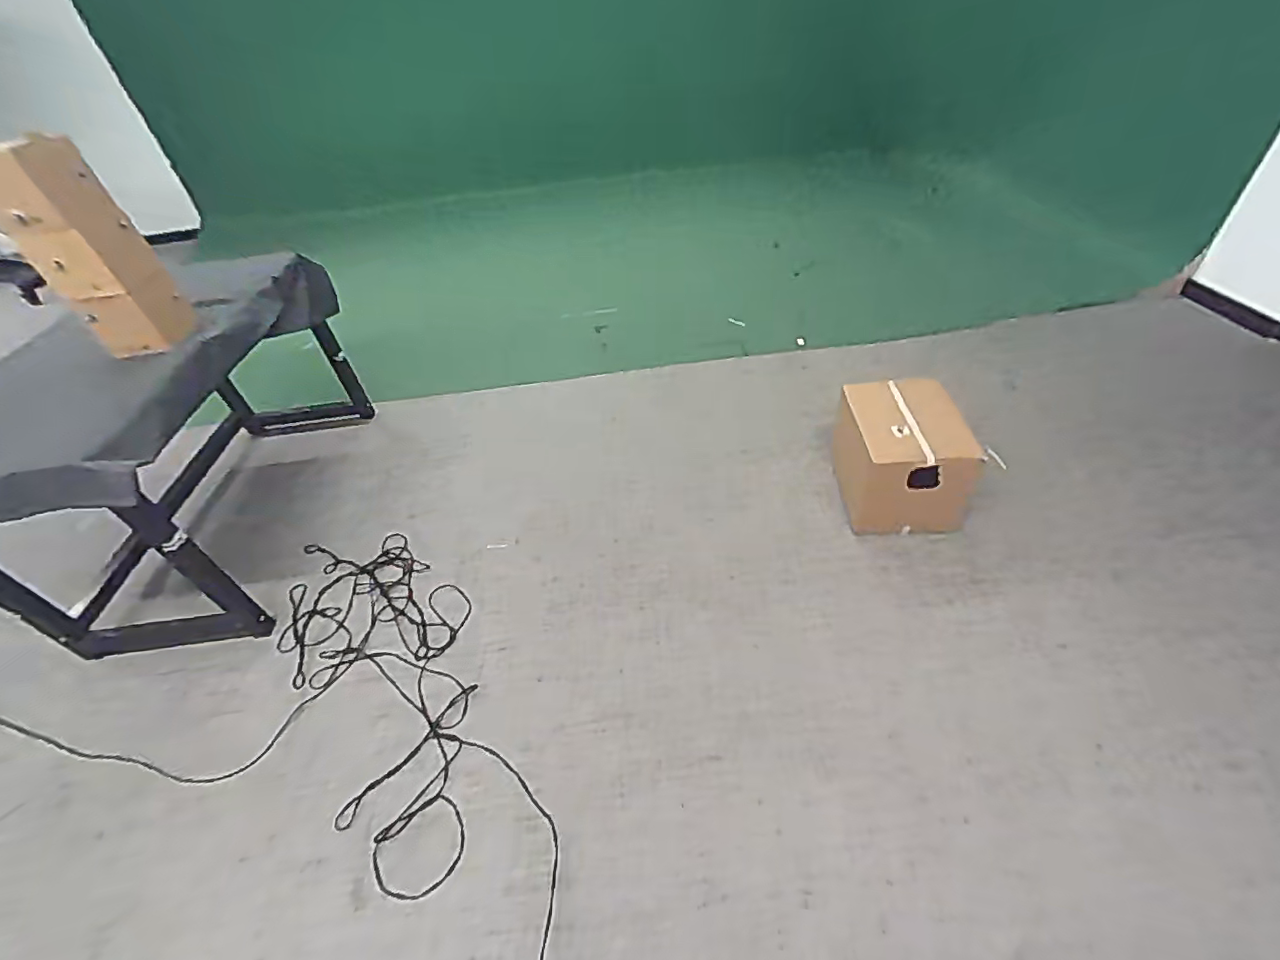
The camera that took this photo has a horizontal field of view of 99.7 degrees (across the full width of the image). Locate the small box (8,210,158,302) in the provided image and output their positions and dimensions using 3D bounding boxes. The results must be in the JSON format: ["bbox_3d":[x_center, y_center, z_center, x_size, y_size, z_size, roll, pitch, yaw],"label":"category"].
[{"bbox_3d":[-1.413,-0.570,1.391,0.168,0.176,0.179,-7,42,1],"label":"small box"}]

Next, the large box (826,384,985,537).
[{"bbox_3d":[0.825,-0.067,1.757,0.320,0.320,0.408,-3,44,5],"label":"large box"}]

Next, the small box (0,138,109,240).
[{"bbox_3d":[-1.434,-0.687,1.281,0.168,0.176,0.179,-8,43,2],"label":"small box"}]
